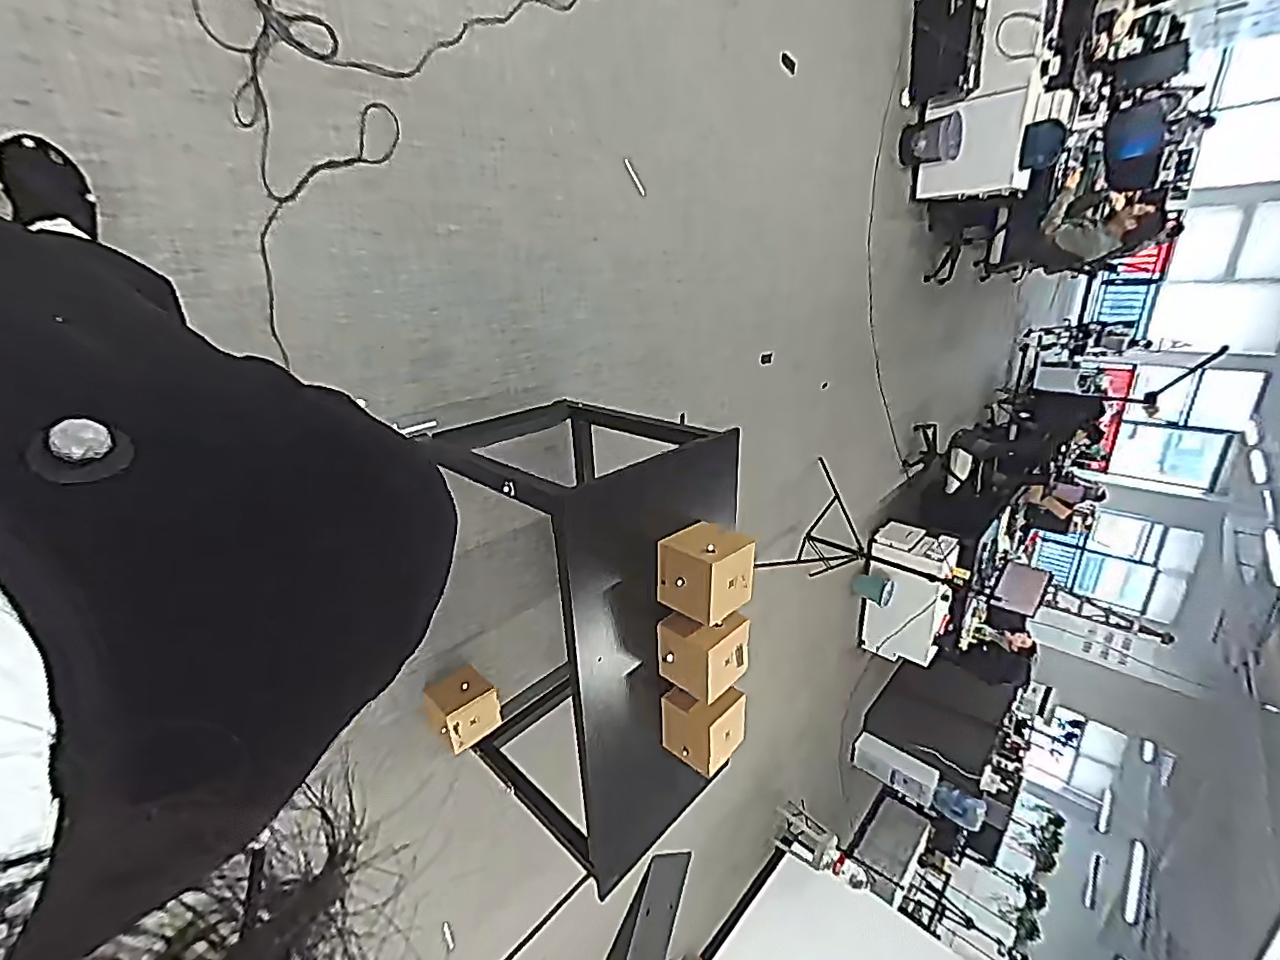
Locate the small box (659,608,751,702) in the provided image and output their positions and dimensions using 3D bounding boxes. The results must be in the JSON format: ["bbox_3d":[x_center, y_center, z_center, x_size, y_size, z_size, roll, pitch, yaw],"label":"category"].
[{"bbox_3d":[0.167,0.429,1.403,0.179,0.176,0.168,-22,118,-41],"label":"small box"}]

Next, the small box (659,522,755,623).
[{"bbox_3d":[0.161,0.219,1.326,0.179,0.176,0.168,-19,117,-43],"label":"small box"}]

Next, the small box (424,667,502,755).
[{"bbox_3d":[-0.586,0.757,1.795,0.179,0.176,0.168,-24,119,-41],"label":"small box"}]

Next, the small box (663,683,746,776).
[{"bbox_3d":[0.176,0.661,1.494,0.168,0.176,0.179,-23,118,-42],"label":"small box"}]
